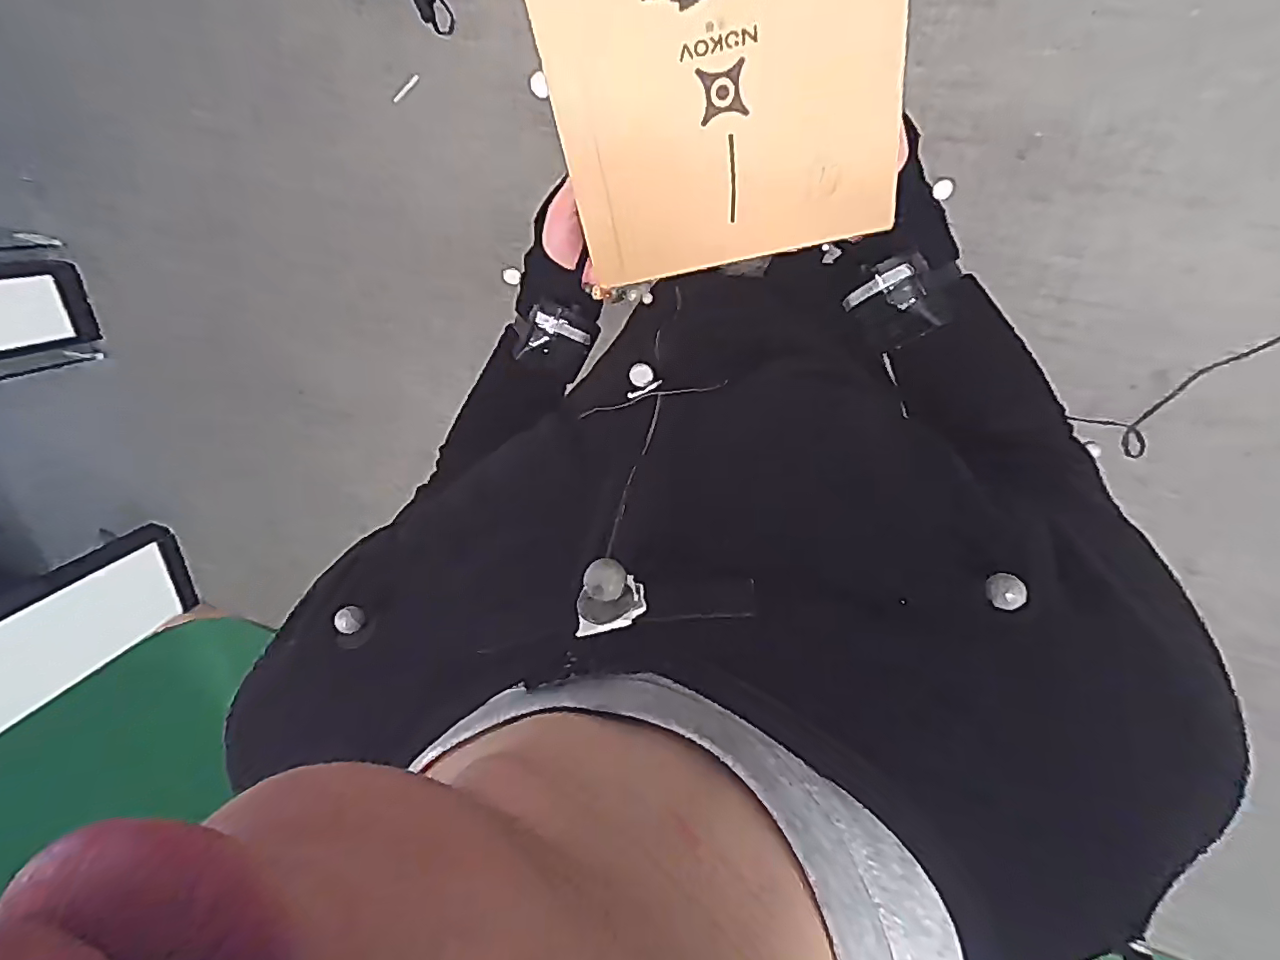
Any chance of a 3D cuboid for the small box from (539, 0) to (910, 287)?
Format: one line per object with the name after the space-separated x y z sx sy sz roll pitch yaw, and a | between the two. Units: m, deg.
0.043 -0.239 0.320 0.168 0.176 0.179 -9 127 8 | small box
